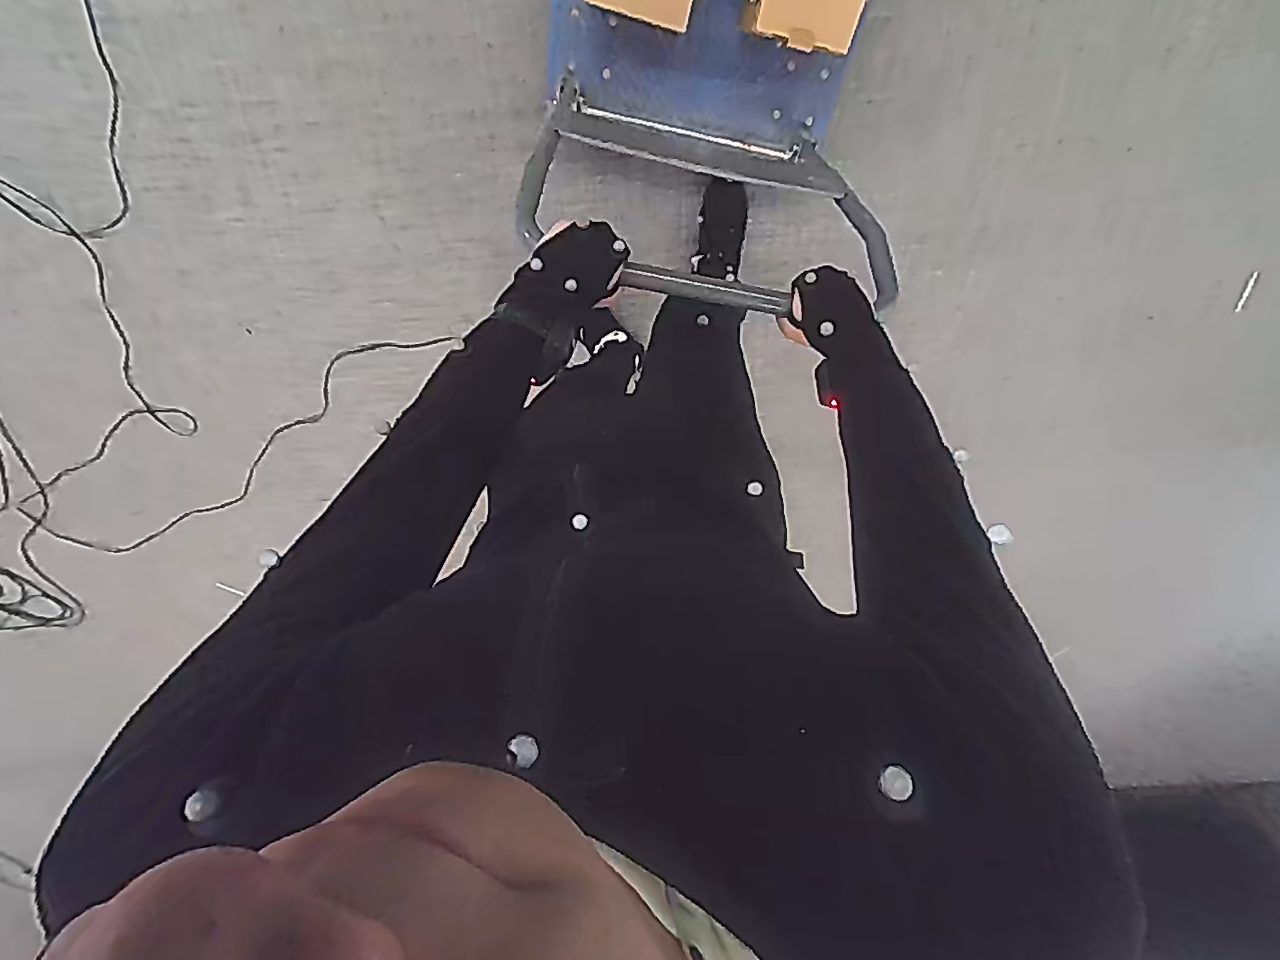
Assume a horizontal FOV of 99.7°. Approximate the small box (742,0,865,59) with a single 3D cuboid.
[{"bbox_3d":[0.282,-0.843,0.910,0.168,0.176,0.179,8,131,-8],"label":"small box"}]
